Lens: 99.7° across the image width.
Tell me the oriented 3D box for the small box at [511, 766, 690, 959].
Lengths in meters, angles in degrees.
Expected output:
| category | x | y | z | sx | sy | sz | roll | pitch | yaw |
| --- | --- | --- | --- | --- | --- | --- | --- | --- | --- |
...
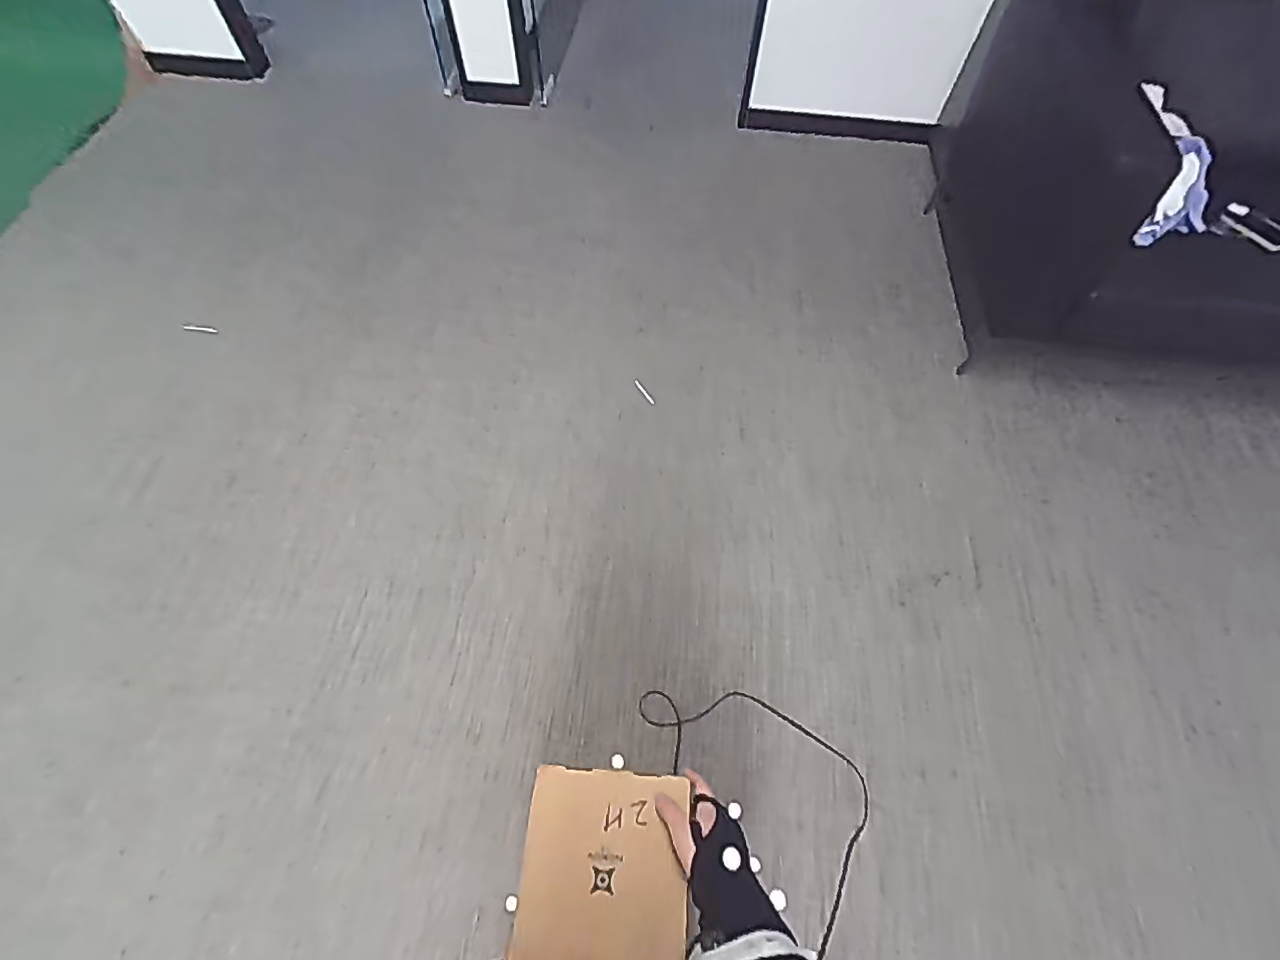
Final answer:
| category | x | y | z | sx | sy | sz | roll | pitch | yaw |
| --- | --- | --- | --- | --- | --- | --- | --- | --- | --- |
| small box | -0.033 | 0.431 | 0.612 | 0.168 | 0.176 | 0.179 | 4 | 61 | 2 |
